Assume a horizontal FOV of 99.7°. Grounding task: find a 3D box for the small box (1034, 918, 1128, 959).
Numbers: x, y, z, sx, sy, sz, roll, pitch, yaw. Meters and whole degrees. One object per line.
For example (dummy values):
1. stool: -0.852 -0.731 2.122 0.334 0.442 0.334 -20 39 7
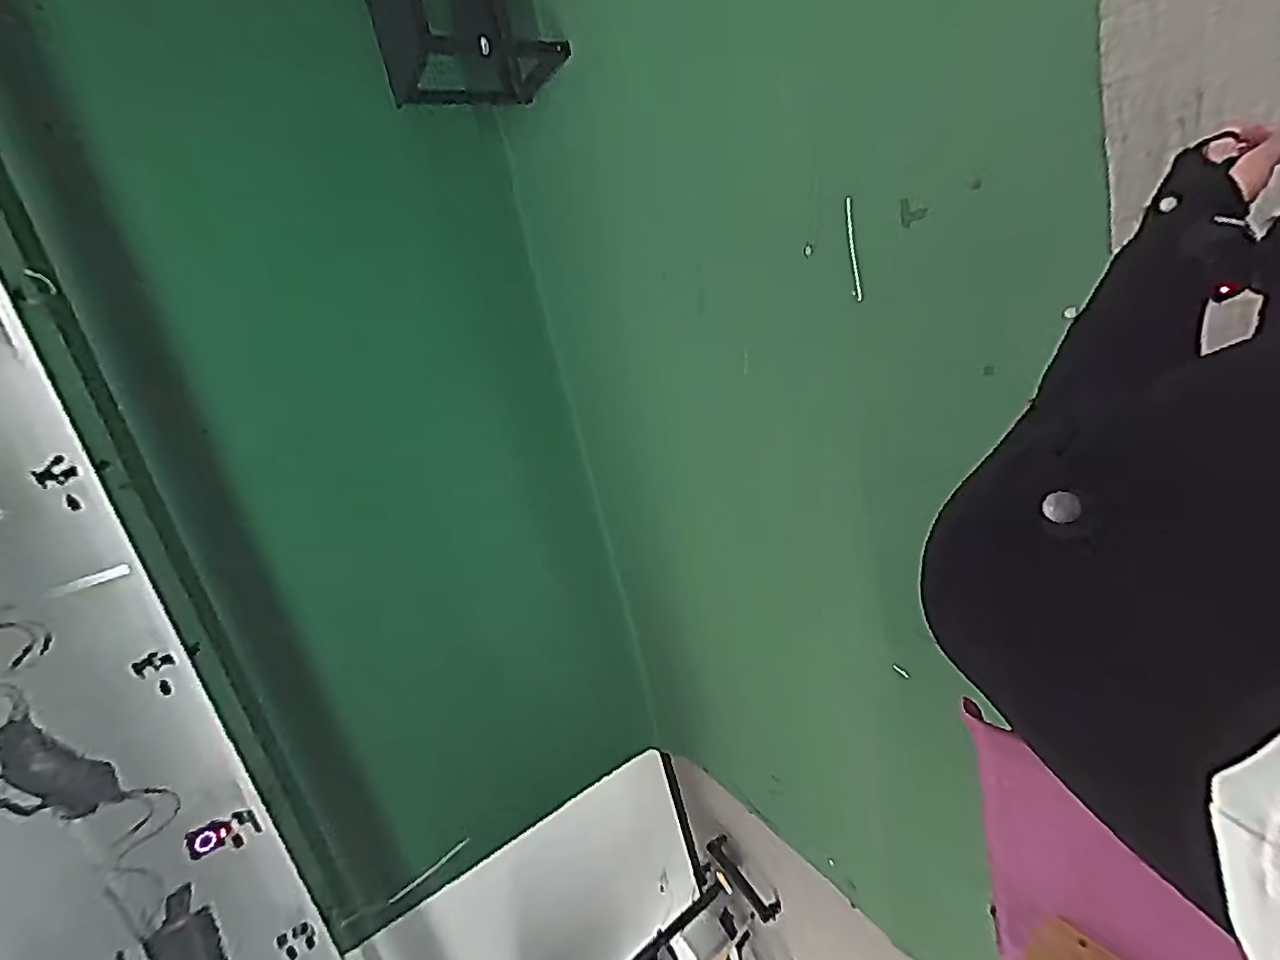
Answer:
1. small box: 0.836 0.977 0.994 0.168 0.176 0.179 9 116 59
